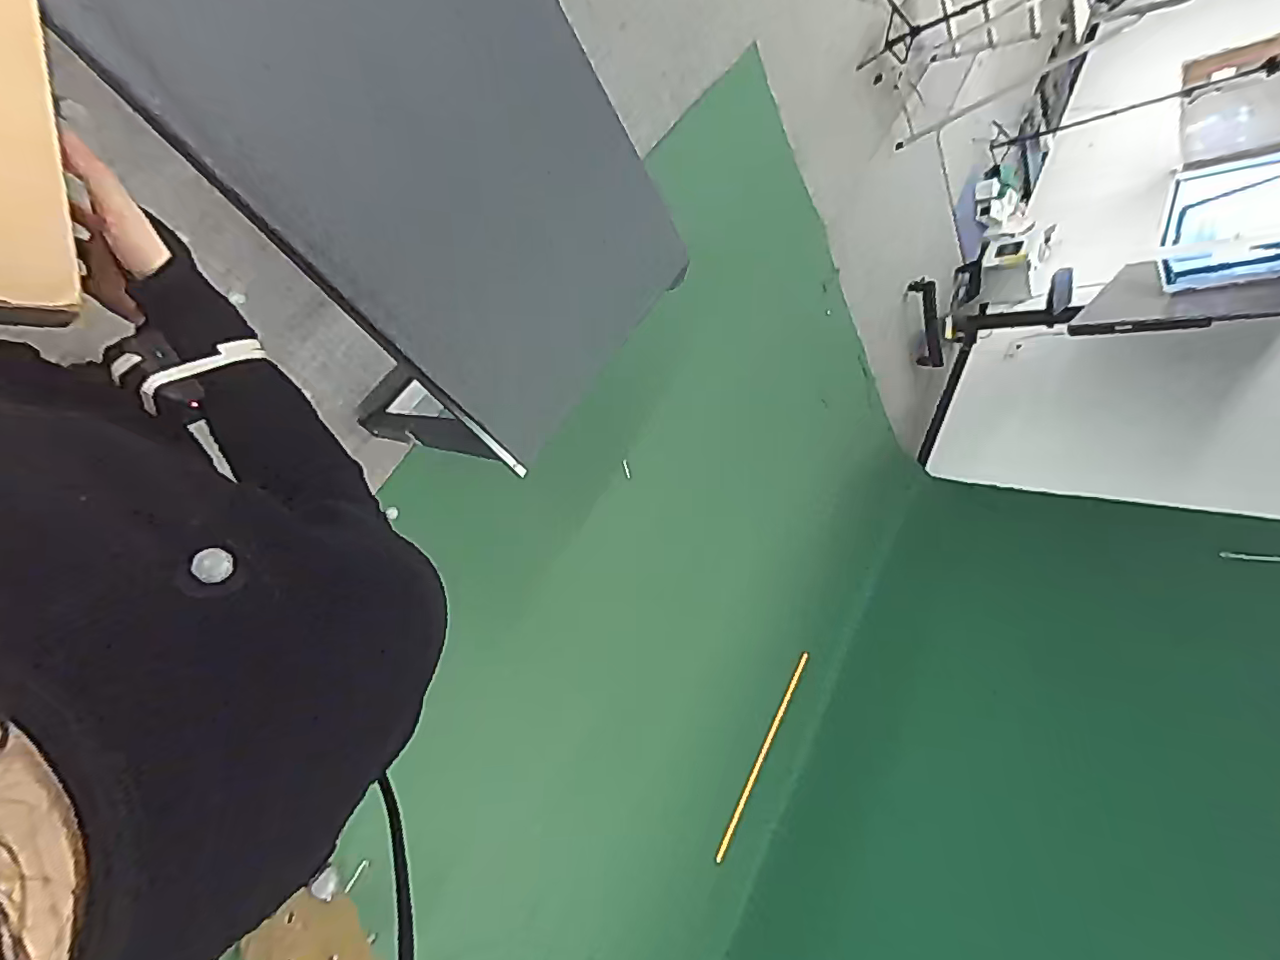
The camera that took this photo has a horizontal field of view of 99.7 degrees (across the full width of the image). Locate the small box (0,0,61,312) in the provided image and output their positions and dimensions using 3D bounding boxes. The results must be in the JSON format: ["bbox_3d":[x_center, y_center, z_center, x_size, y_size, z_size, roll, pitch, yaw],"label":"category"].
[{"bbox_3d":[-0.454,-0.197,0.296,0.168,0.176,0.179,-9,104,-49],"label":"small box"}]
